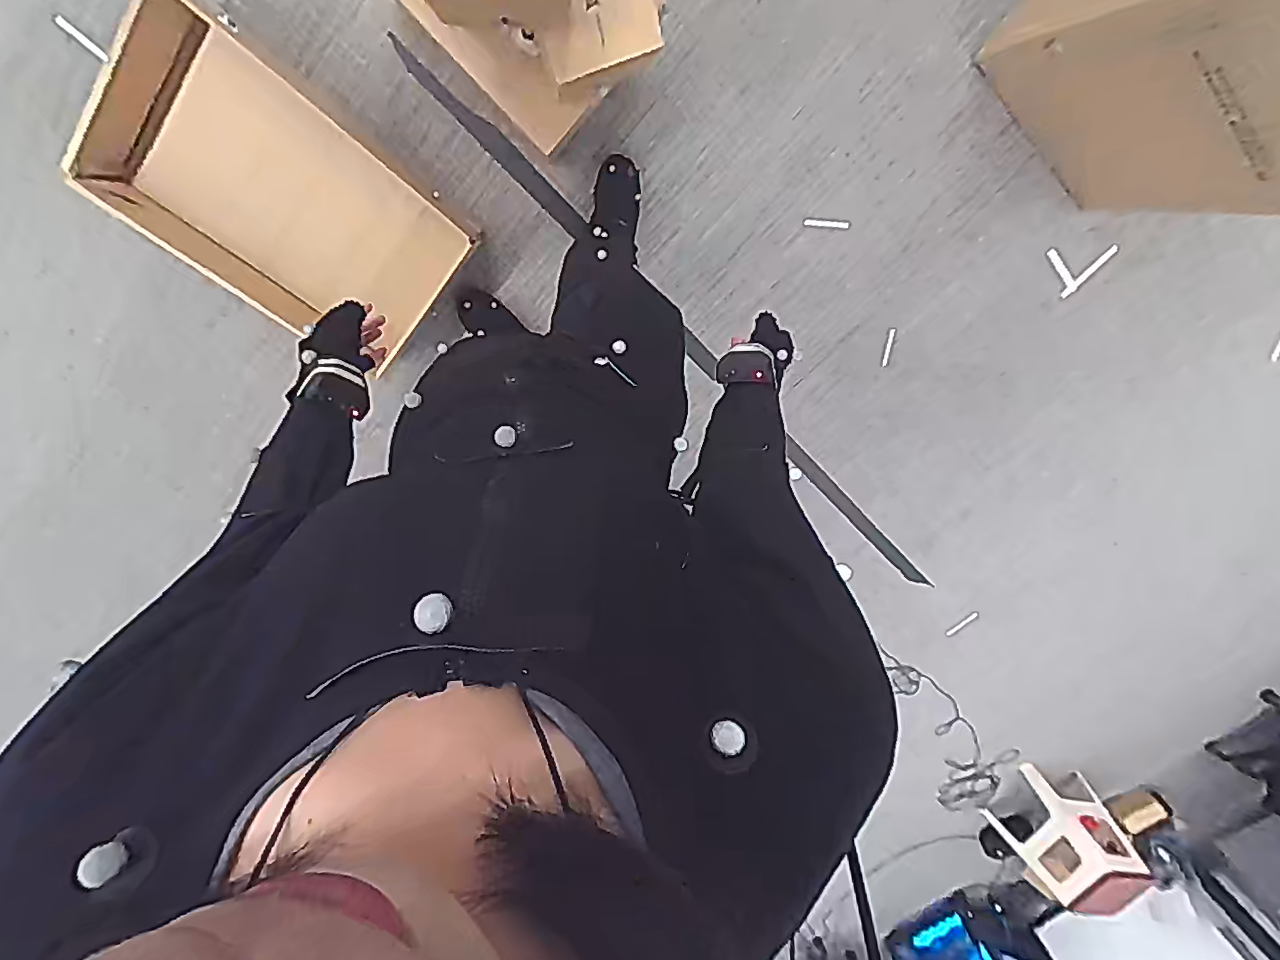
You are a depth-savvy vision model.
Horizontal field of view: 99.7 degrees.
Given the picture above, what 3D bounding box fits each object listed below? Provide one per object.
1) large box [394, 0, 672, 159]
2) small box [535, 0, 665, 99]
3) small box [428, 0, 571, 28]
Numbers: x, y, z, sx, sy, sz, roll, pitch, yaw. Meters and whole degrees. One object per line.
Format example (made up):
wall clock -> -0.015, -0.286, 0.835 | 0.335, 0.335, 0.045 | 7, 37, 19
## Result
large box -> -0.213, -0.864, 0.972 | 0.408, 0.320, 0.320 | 38, 107, -25
small box -> -0.076, -0.700, 0.800 | 0.168, 0.176, 0.179 | -19, 119, 2
small box -> -0.170, -0.652, 0.626 | 0.179, 0.176, 0.168 | -3, 118, -7
